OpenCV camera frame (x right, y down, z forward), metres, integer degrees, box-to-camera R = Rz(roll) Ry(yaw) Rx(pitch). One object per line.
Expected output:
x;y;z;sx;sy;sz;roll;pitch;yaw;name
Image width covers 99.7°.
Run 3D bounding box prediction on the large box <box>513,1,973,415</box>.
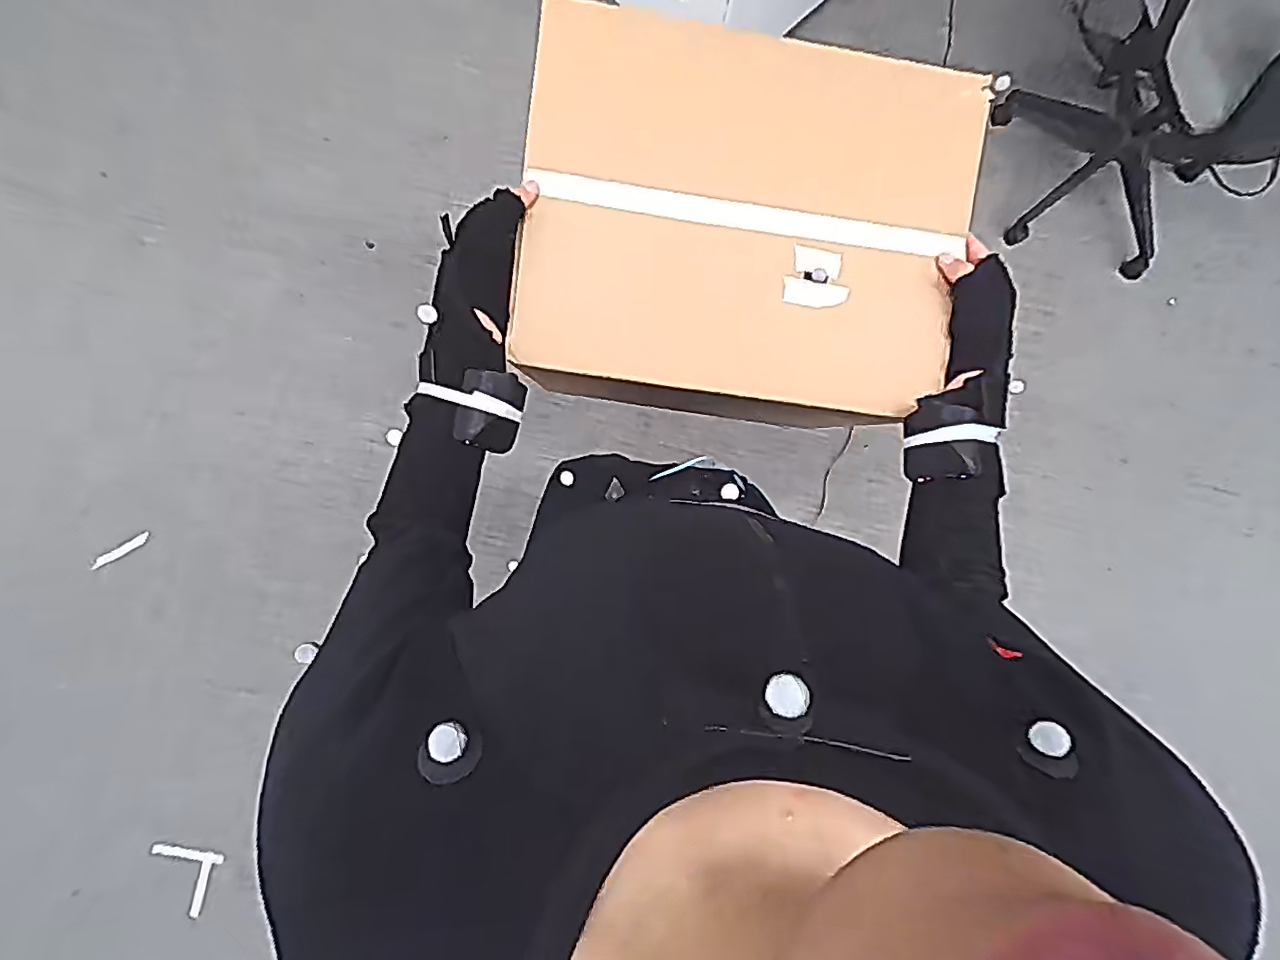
0.084;-0.258;0.644;0.408;0.320;0.320;8;95;-5;large box
